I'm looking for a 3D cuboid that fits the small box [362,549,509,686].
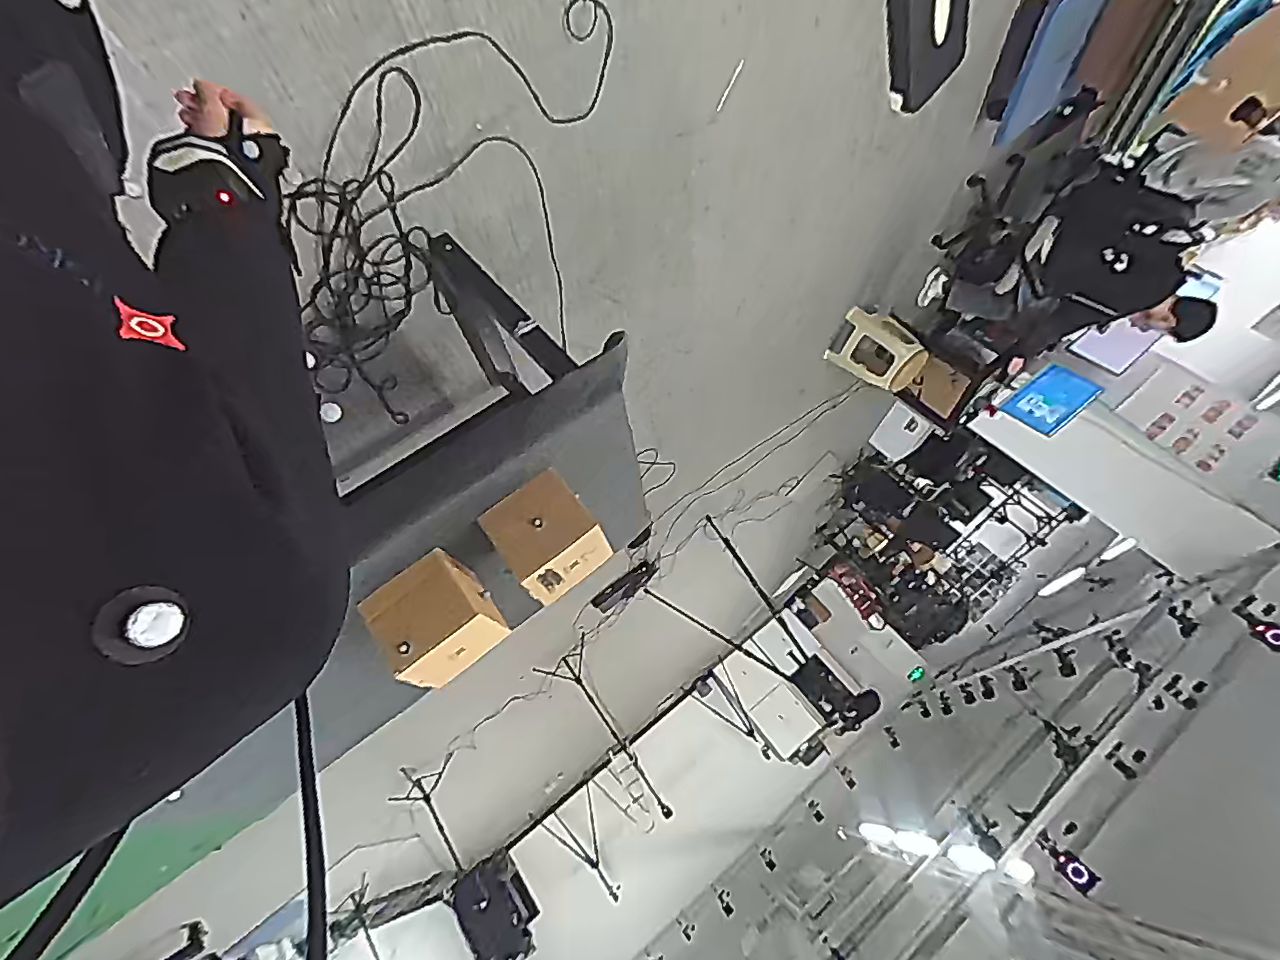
[{"bbox_3d":[-0.387,0.260,1.031,0.179,0.176,0.168,-37,154,-10],"label":"small box"}]
